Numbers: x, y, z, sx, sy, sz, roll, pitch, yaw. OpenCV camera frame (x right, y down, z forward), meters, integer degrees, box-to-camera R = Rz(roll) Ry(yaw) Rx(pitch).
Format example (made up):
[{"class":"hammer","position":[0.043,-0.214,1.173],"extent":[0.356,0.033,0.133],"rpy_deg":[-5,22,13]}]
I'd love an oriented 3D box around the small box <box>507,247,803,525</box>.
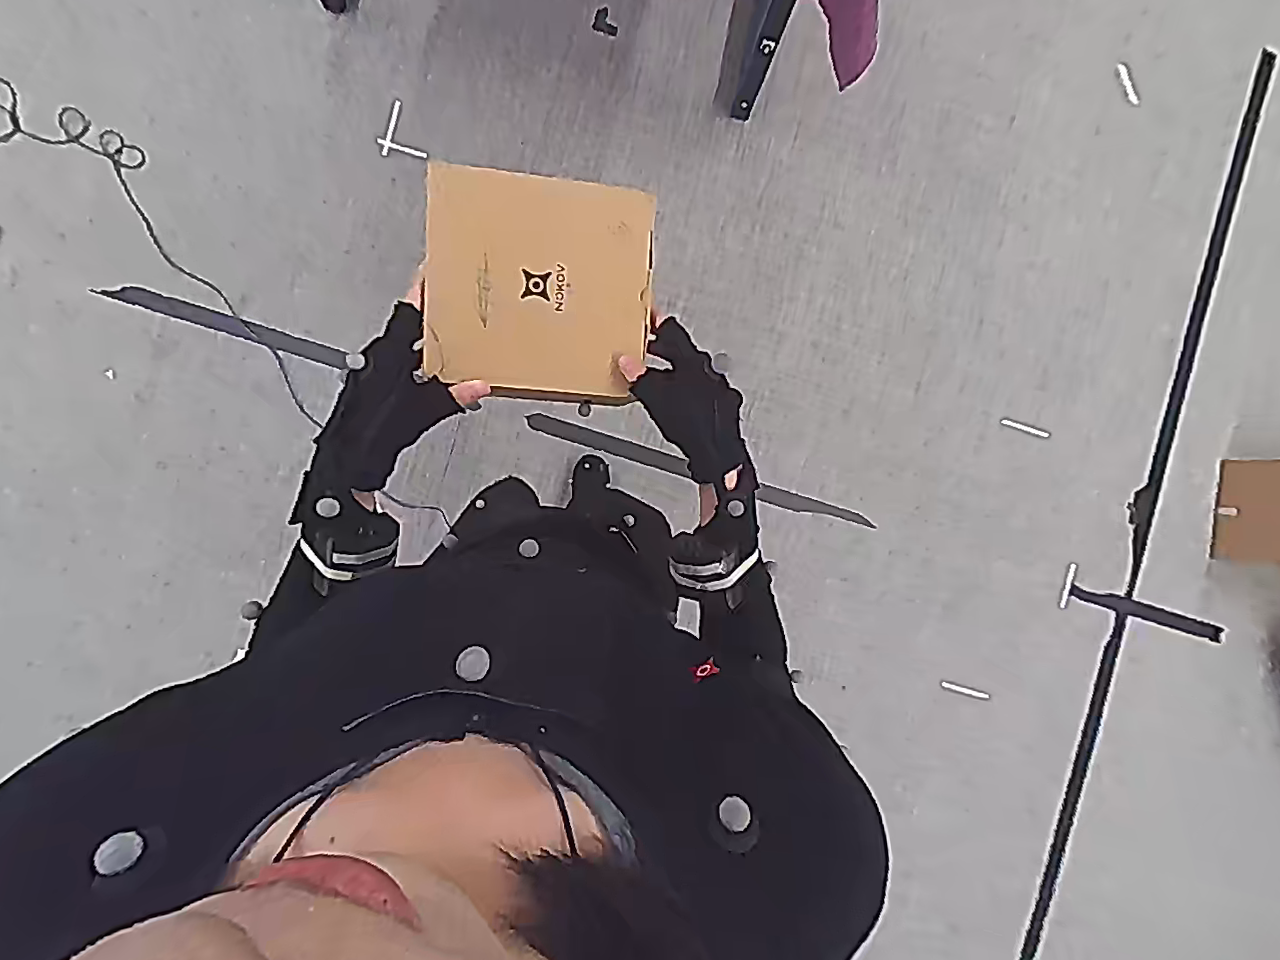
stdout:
[{"class":"small box","position":[0.023,-0.087,0.491],"extent":[0.168,0.176,0.179],"rpy_deg":[-23,99,39]}]
